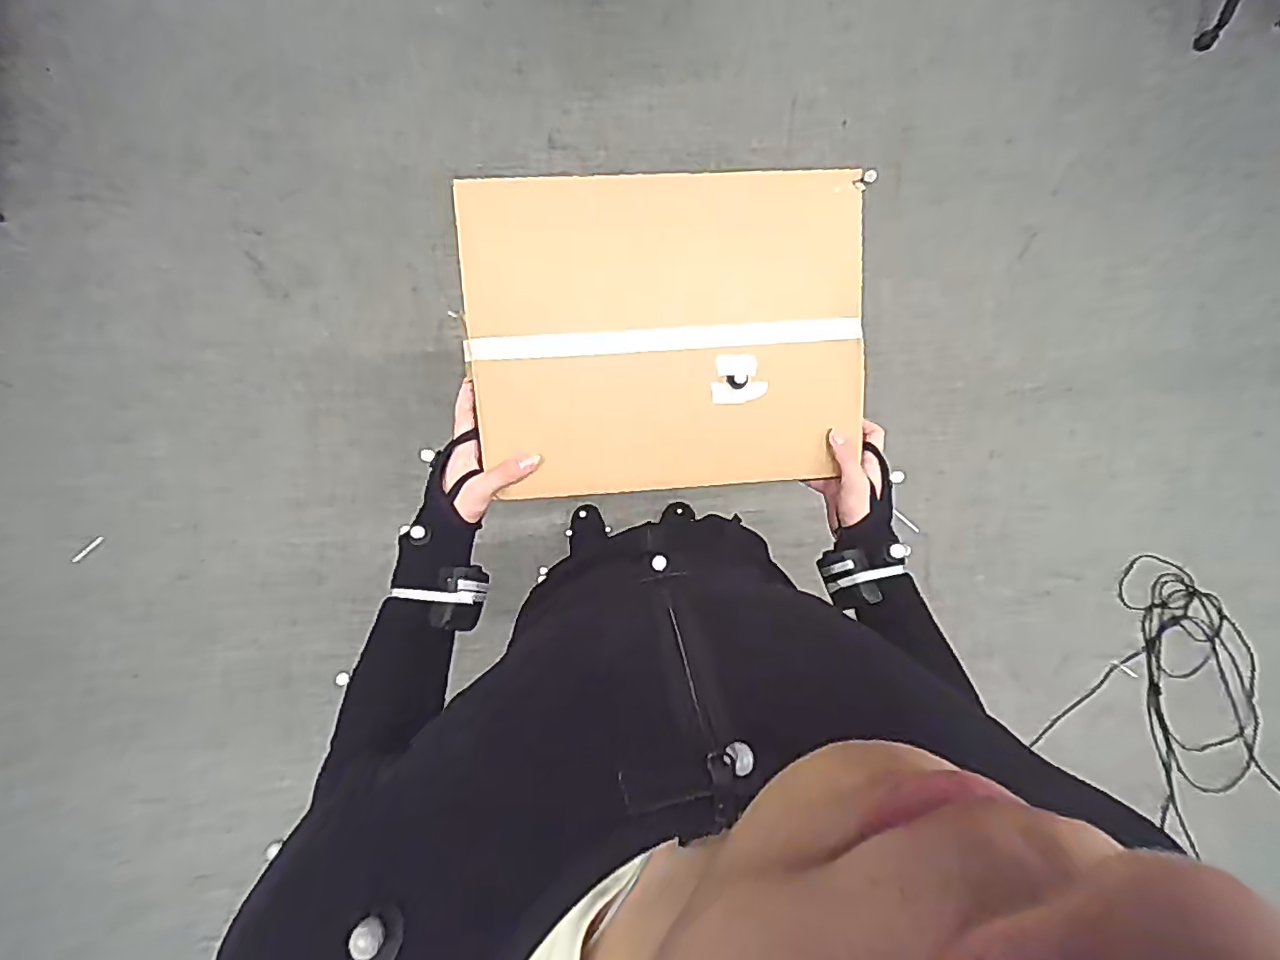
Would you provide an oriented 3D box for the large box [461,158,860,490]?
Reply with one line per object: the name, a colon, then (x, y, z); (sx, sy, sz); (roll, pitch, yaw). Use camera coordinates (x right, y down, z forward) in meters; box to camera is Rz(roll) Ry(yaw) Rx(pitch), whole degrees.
large box: (0.020, -0.181, 0.704); (0.408, 0.320, 0.320); (-5, 100, -5)
